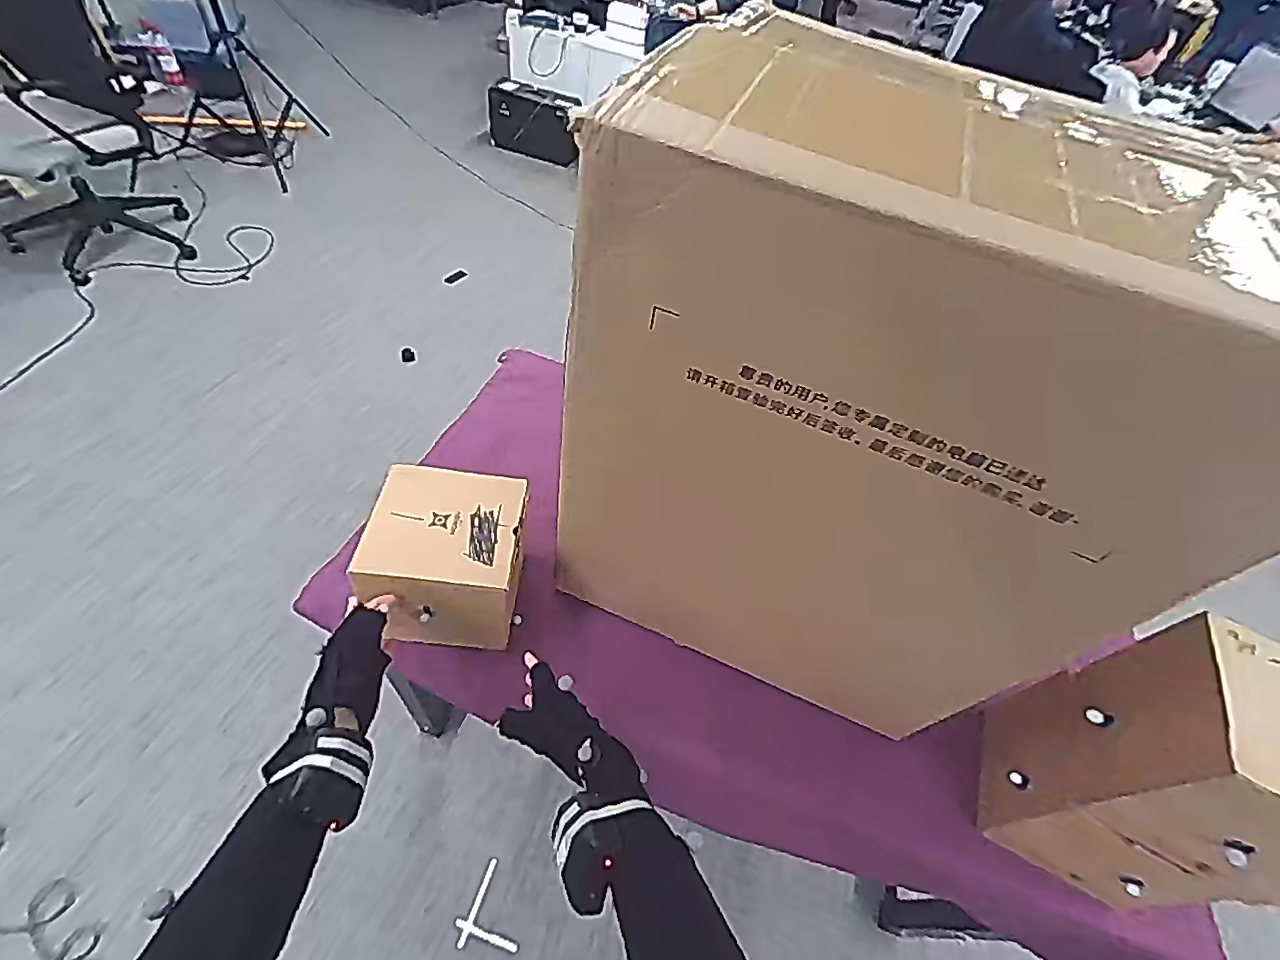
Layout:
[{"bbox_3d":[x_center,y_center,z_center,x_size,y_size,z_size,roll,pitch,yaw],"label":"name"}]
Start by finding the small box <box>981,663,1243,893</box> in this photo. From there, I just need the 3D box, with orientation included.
[{"bbox_3d":[0.547,0.365,0.659,0.168,0.176,0.179,26,50,10],"label":"small box"}]

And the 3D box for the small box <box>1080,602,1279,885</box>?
[{"bbox_3d":[0.579,0.263,0.533,0.168,0.176,0.179,29,52,12],"label":"small box"}]
